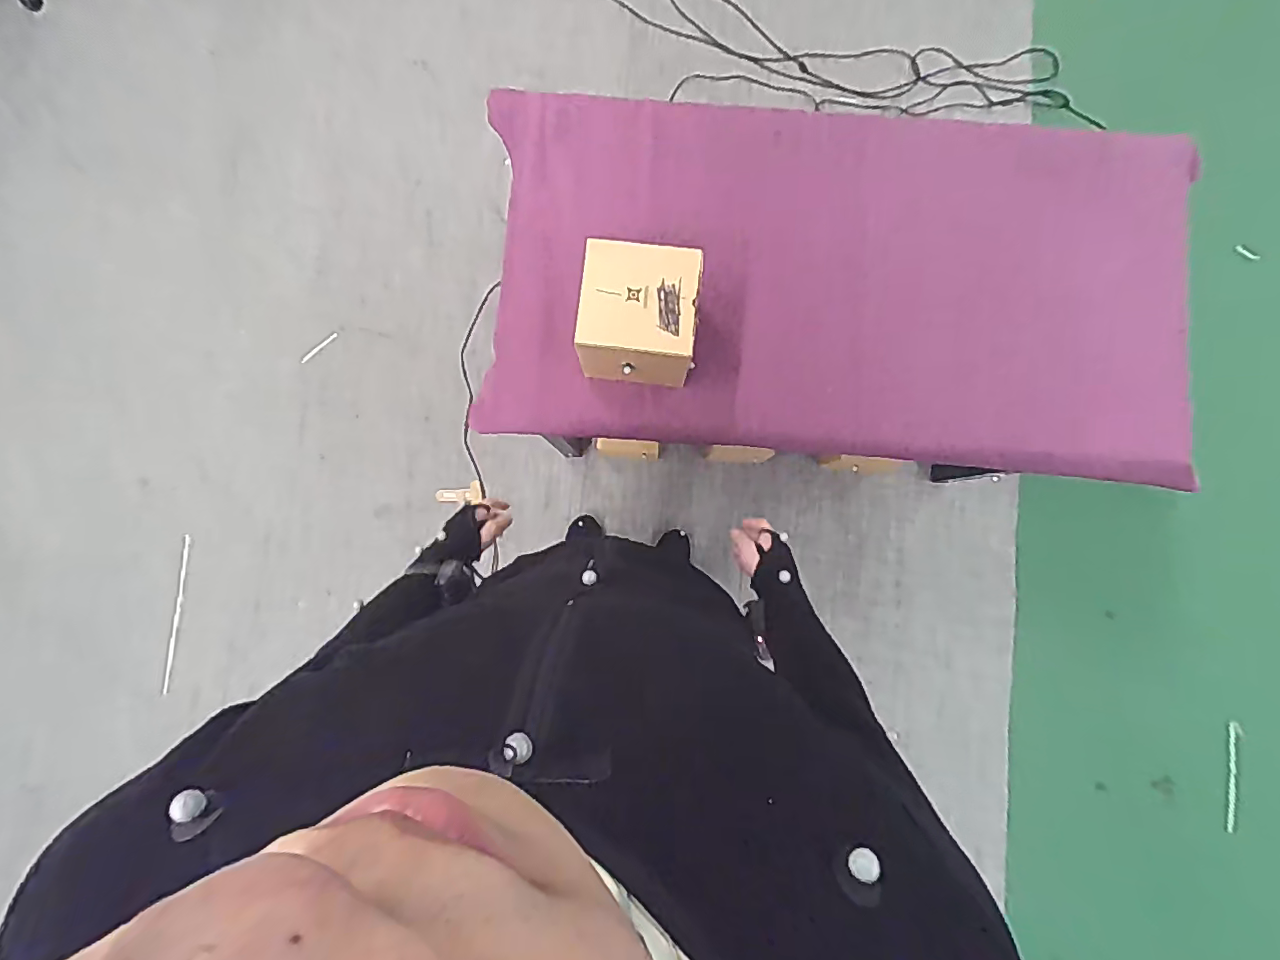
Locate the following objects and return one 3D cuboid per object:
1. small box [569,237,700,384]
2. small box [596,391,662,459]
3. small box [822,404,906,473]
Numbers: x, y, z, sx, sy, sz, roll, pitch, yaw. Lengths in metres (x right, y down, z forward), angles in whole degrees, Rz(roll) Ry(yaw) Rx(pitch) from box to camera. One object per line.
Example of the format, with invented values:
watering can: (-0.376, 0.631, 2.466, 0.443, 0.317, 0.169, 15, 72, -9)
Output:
small box: (-0.006, -0.259, 0.865, 0.179, 0.176, 0.168, 7, 84, 2)
small box: (-0.030, -0.155, 1.589, 0.179, 0.176, 0.168, 4, 85, 1)
small box: (0.646, -0.115, 1.577, 0.179, 0.176, 0.168, 7, 85, 2)
